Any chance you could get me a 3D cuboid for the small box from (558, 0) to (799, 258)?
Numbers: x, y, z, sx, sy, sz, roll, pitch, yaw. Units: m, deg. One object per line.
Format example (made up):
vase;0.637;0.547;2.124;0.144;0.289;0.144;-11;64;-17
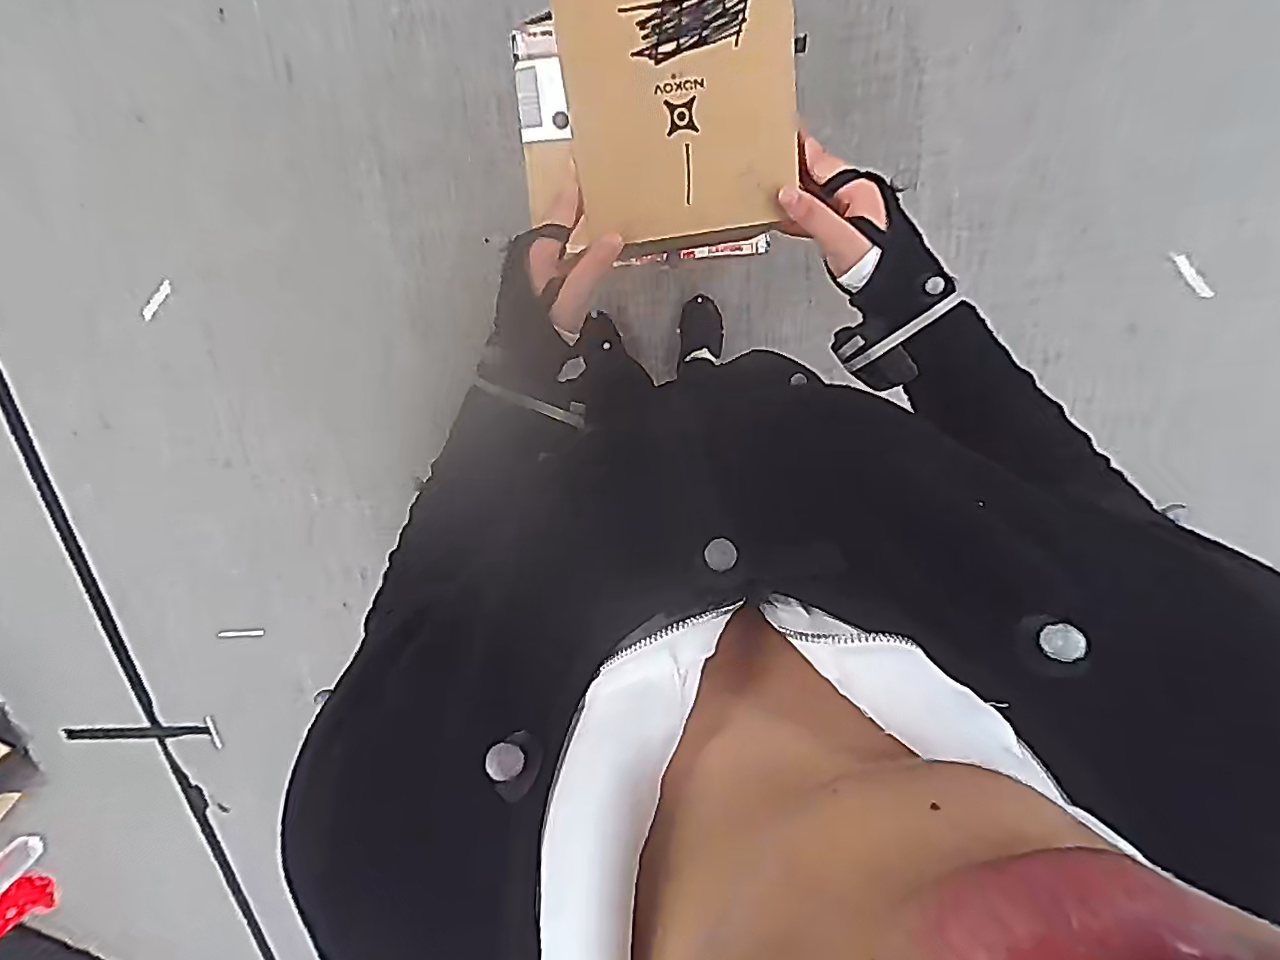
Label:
small box;0.027;-0.299;0.465;0.168;0.176;0.179;-8;109;0
